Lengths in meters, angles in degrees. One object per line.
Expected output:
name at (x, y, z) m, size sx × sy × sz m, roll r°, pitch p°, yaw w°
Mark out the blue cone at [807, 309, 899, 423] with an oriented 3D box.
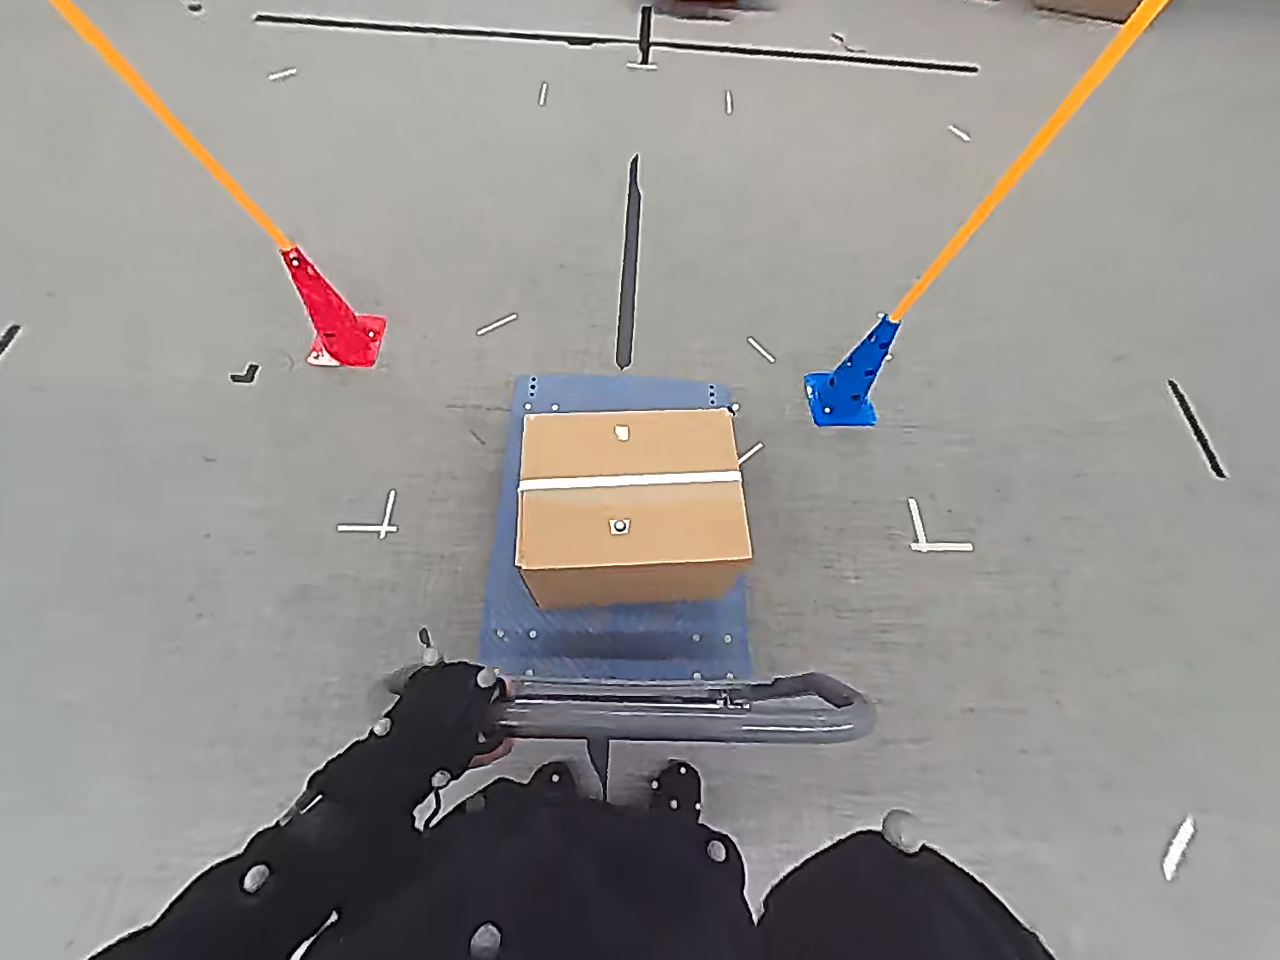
blue cone at (0.637, -0.333, 1.545) m, size 0.193 × 0.380 × 0.192 m, roll -1°, pitch 63°, yaw -4°
